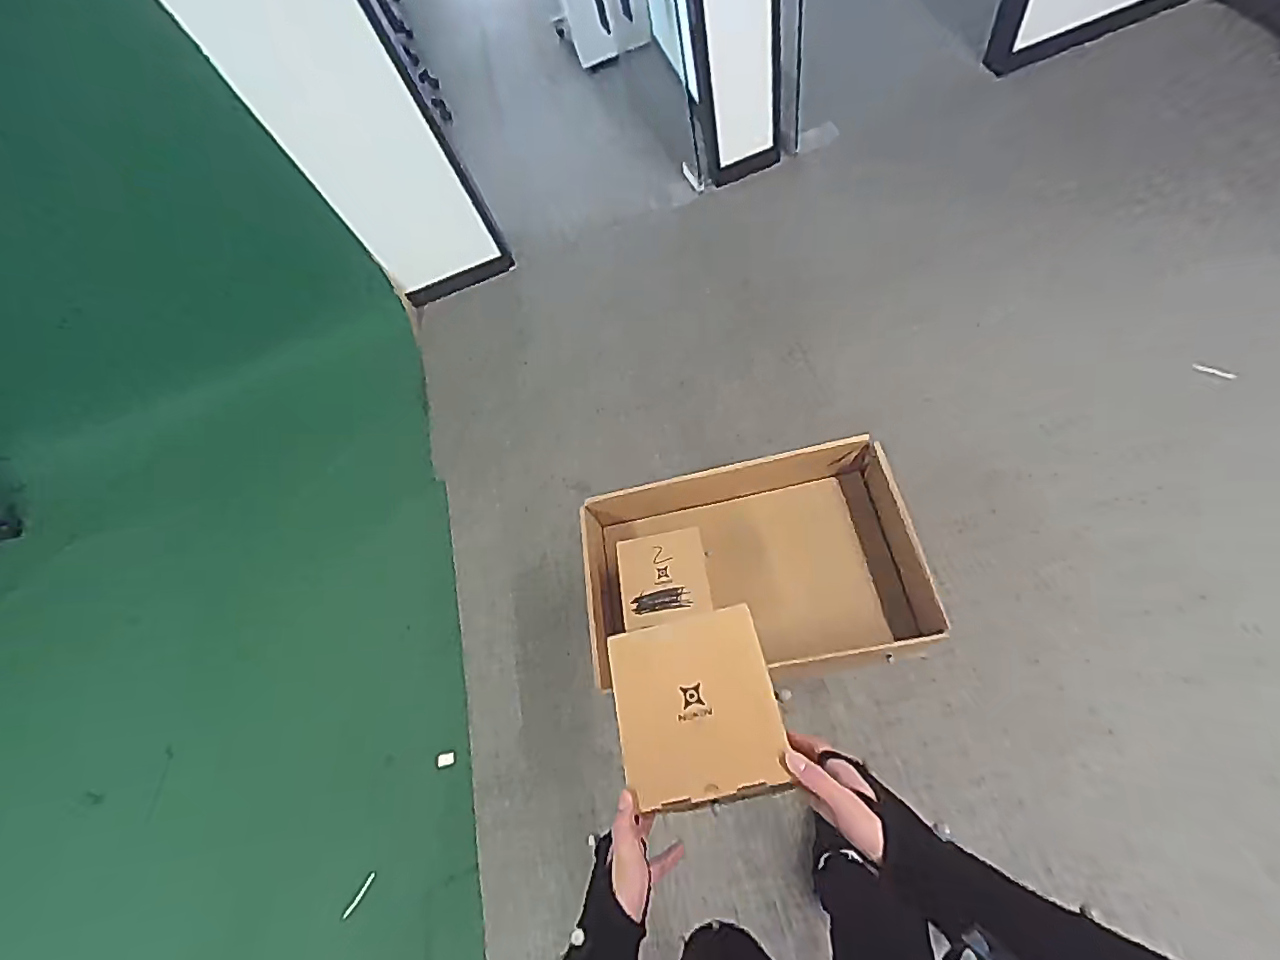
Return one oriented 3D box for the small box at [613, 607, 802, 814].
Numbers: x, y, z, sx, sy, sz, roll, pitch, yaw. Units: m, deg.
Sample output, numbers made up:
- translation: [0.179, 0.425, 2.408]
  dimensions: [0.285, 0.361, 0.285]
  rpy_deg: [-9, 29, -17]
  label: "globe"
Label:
- translation: [0.076, 0.269, 0.622]
  dimensions: [0.168, 0.176, 0.179]
  rpy_deg: [-15, 59, 6]
  label: "small box"
